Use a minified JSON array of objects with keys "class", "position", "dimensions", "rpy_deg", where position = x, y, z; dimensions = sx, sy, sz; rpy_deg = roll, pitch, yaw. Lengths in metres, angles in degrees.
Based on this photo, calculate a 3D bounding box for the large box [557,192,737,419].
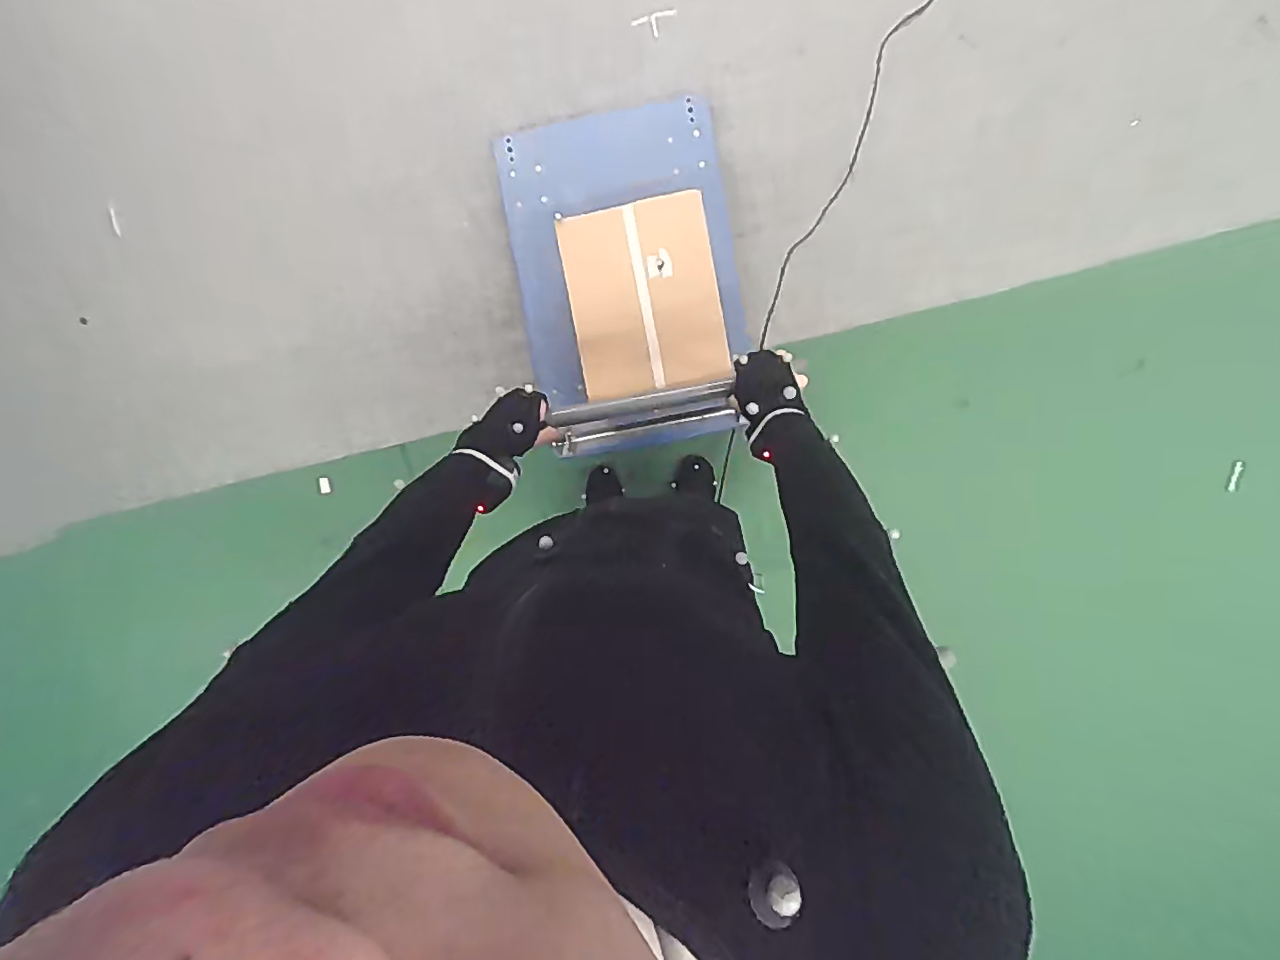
[{"class":"large box","position":[0.023,-0.376,1.273],"dimensions":[0.320,0.320,0.408],"rpy_deg":[-11,92,3]}]
